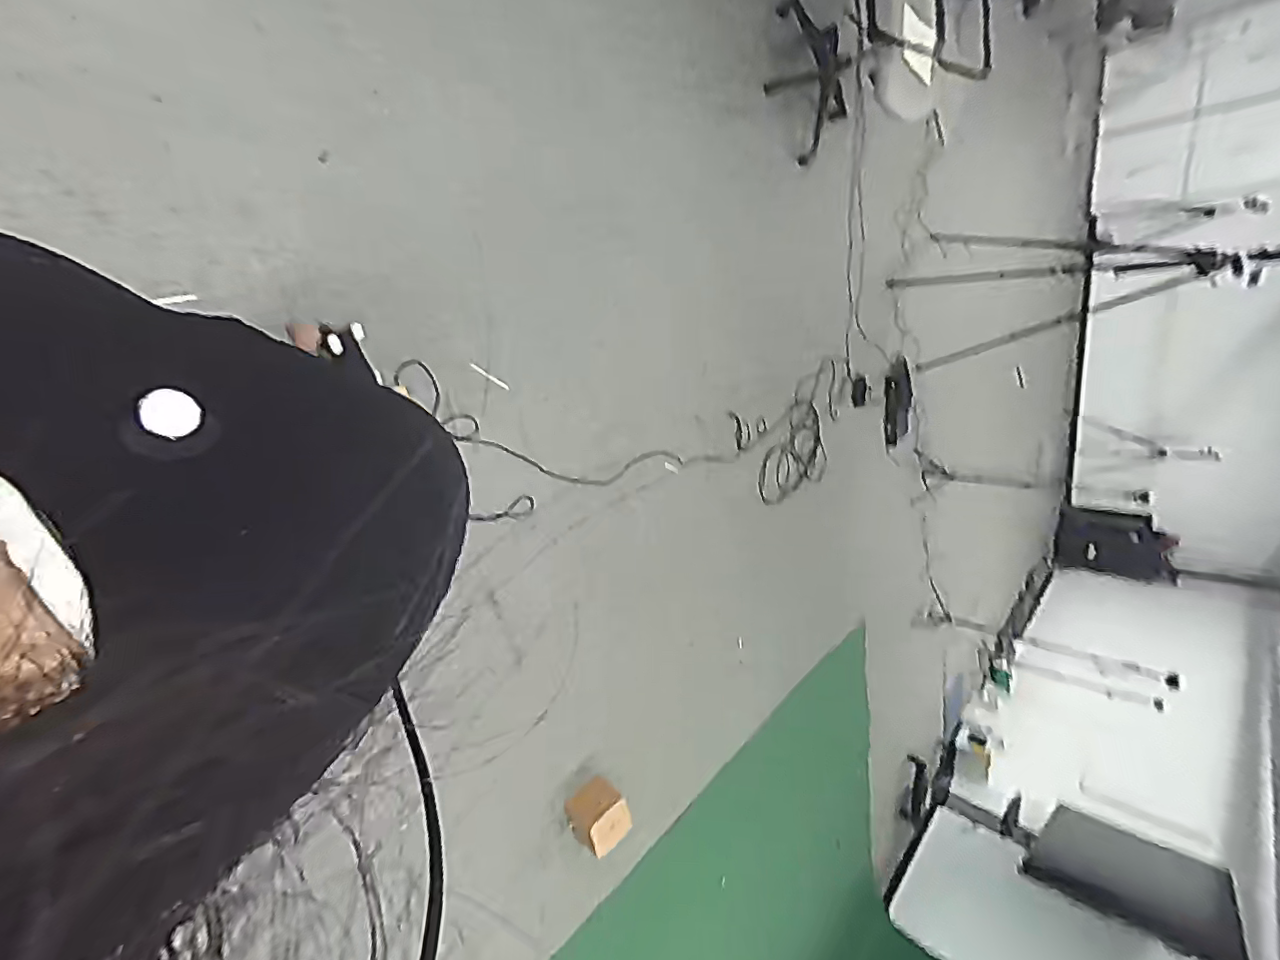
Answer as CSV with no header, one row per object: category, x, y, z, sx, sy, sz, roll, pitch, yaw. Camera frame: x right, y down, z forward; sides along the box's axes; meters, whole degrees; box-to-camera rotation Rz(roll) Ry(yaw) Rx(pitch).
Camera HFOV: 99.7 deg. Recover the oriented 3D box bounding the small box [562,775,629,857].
small box,-0.172,1.285,2.084,0.179,0.176,0.168,-26,113,-36
